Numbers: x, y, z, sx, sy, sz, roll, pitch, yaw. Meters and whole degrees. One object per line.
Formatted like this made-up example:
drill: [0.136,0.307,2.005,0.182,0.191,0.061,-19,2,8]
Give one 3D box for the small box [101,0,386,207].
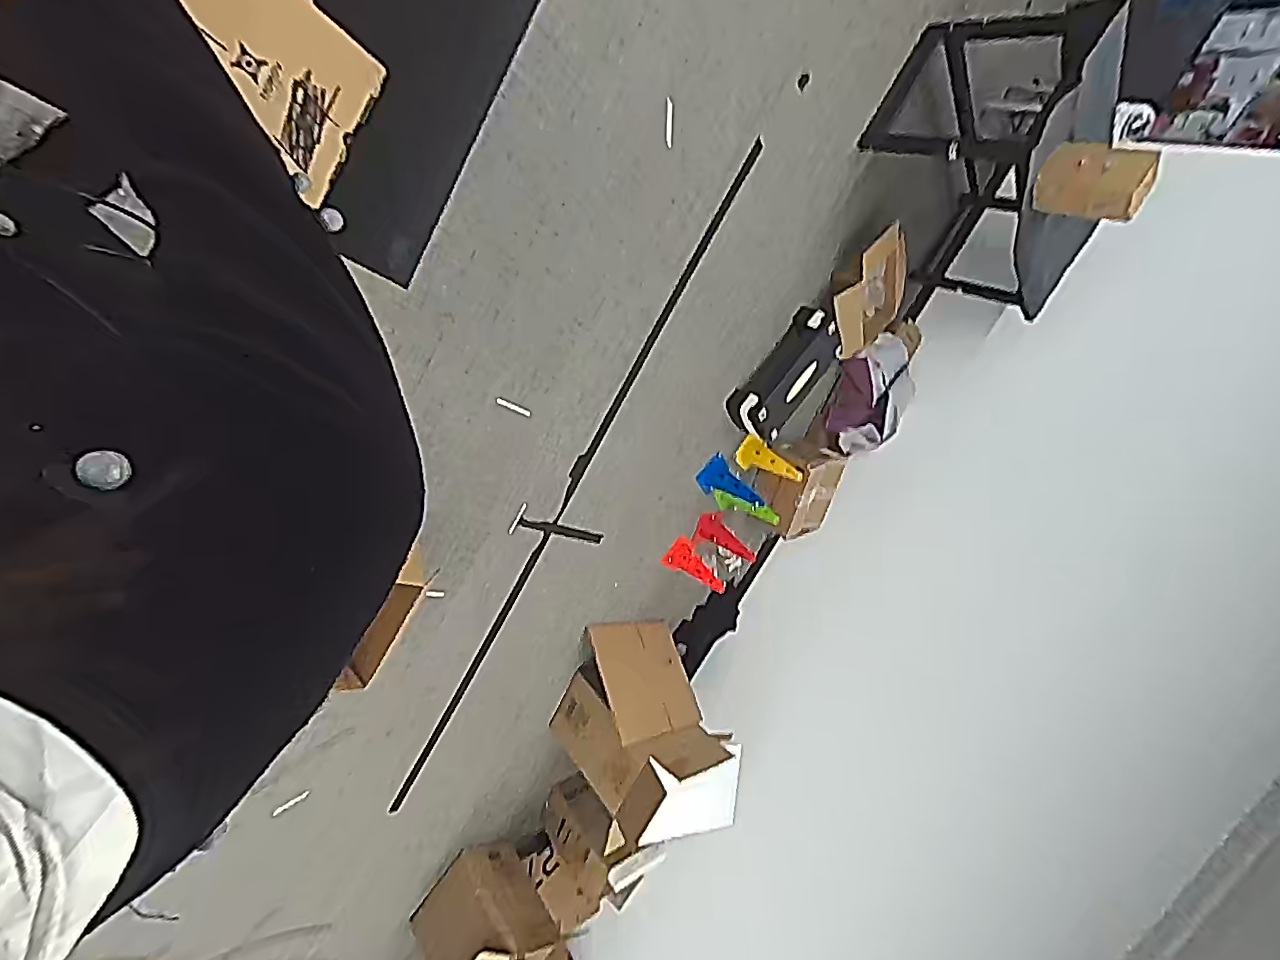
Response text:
small box: [-0.402,-0.417,0.552,0.179,0.176,0.168,23,99,-50]
